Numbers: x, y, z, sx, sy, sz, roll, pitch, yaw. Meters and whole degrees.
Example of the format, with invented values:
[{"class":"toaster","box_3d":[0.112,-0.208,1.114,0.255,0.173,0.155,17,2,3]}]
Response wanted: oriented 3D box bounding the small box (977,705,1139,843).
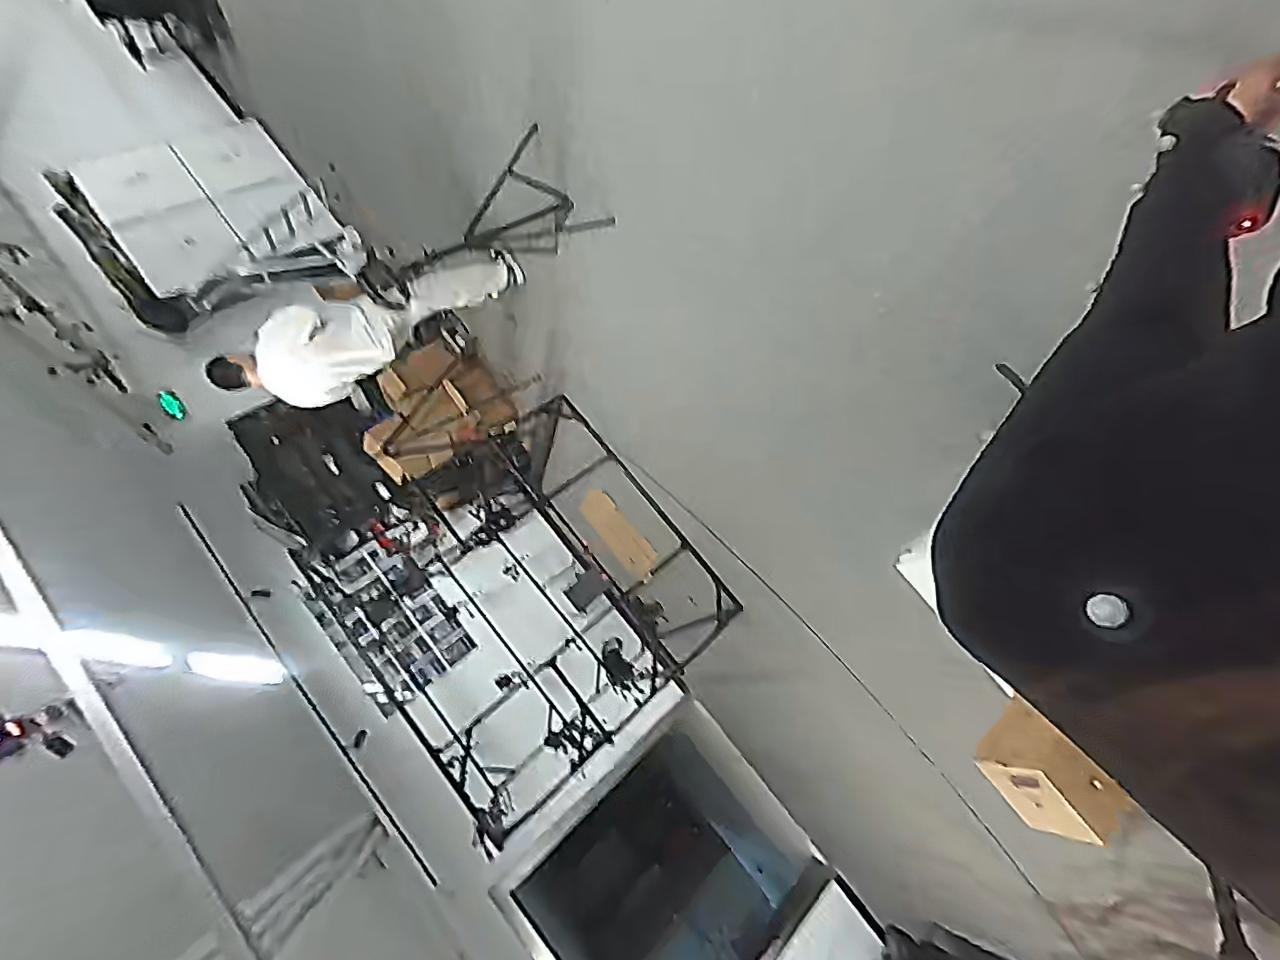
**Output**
[{"class":"small box","box_3d":[0.857,0.589,1.114,0.179,0.176,0.168,50,157,7]}]
